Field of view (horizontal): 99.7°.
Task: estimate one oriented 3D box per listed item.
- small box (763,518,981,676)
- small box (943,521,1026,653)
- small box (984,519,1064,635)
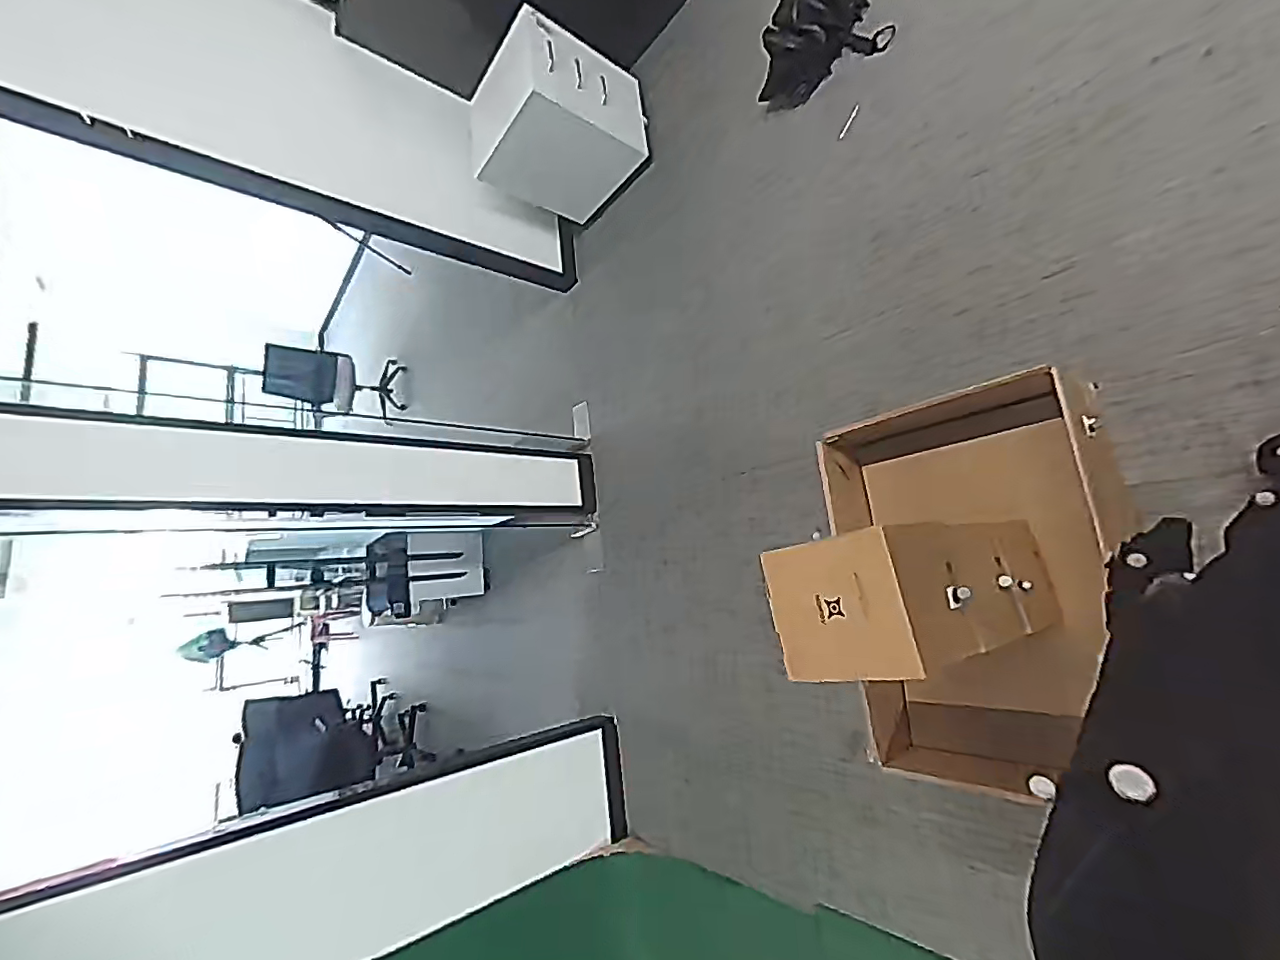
[{"bbox_3d":[0.291,0.148,0.689,0.179,0.176,0.168,-26,70,46],"label":"small box"},{"bbox_3d":[0.417,0.160,0.789,0.179,0.176,0.168,-27,68,47],"label":"small box"},{"bbox_3d":[0.547,0.166,0.890,0.179,0.176,0.168,-29,67,48],"label":"small box"}]
